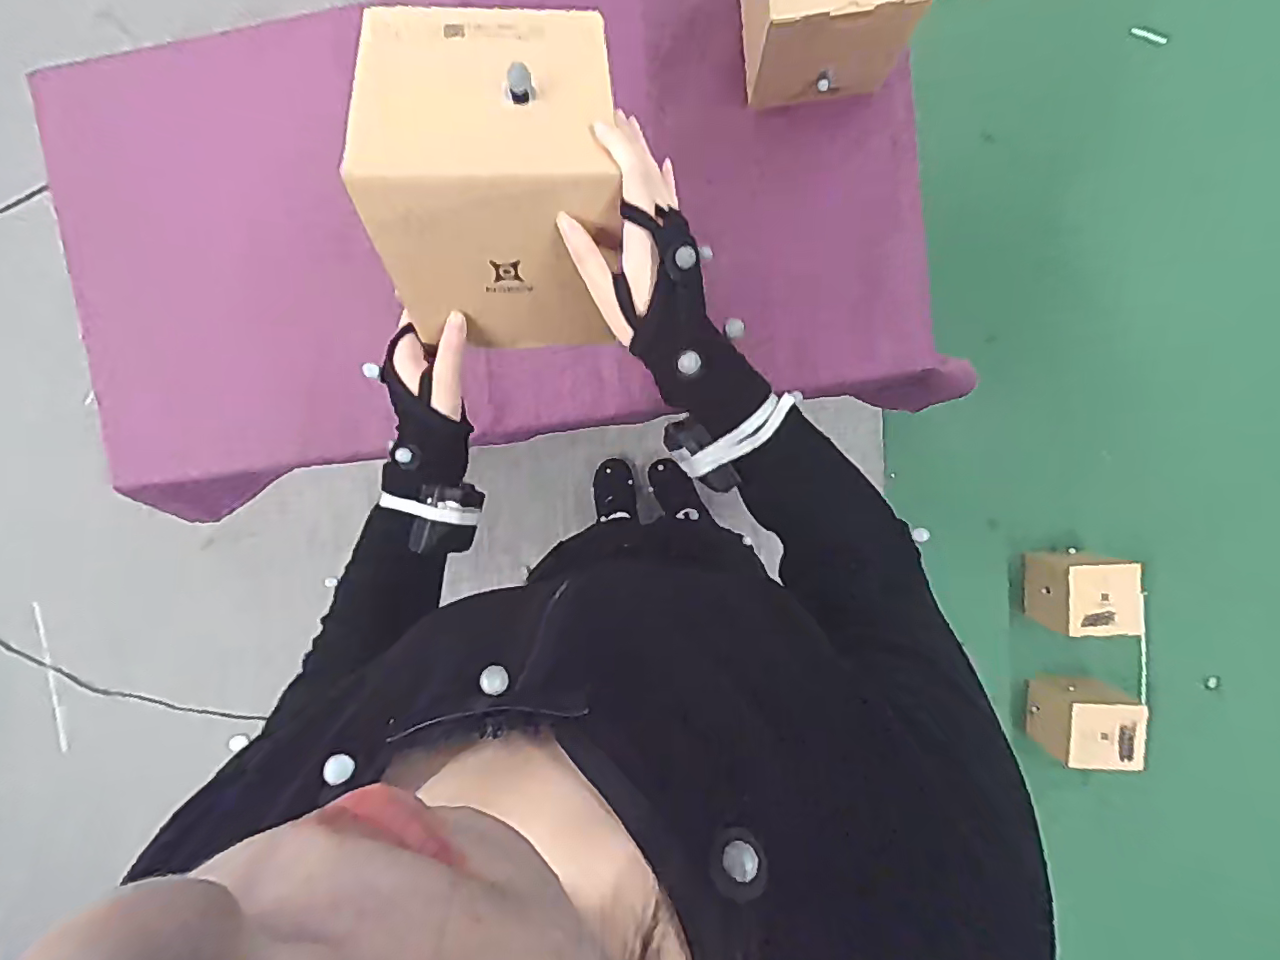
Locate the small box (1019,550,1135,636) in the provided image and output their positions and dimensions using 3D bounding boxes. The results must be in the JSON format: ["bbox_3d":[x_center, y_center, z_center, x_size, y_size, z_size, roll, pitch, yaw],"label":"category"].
[{"bbox_3d":[1.099,0.282,1.372,0.168,0.176,0.179,-3,94,4],"label":"small box"}]

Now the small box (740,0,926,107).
[{"bbox_3d":[0.208,-0.573,0.618,0.168,0.176,0.179,-4,98,5],"label":"small box"}]

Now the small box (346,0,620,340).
[{"bbox_3d":[-0.108,-0.235,0.429,0.168,0.179,0.176,-4,69,-6],"label":"small box"}]
